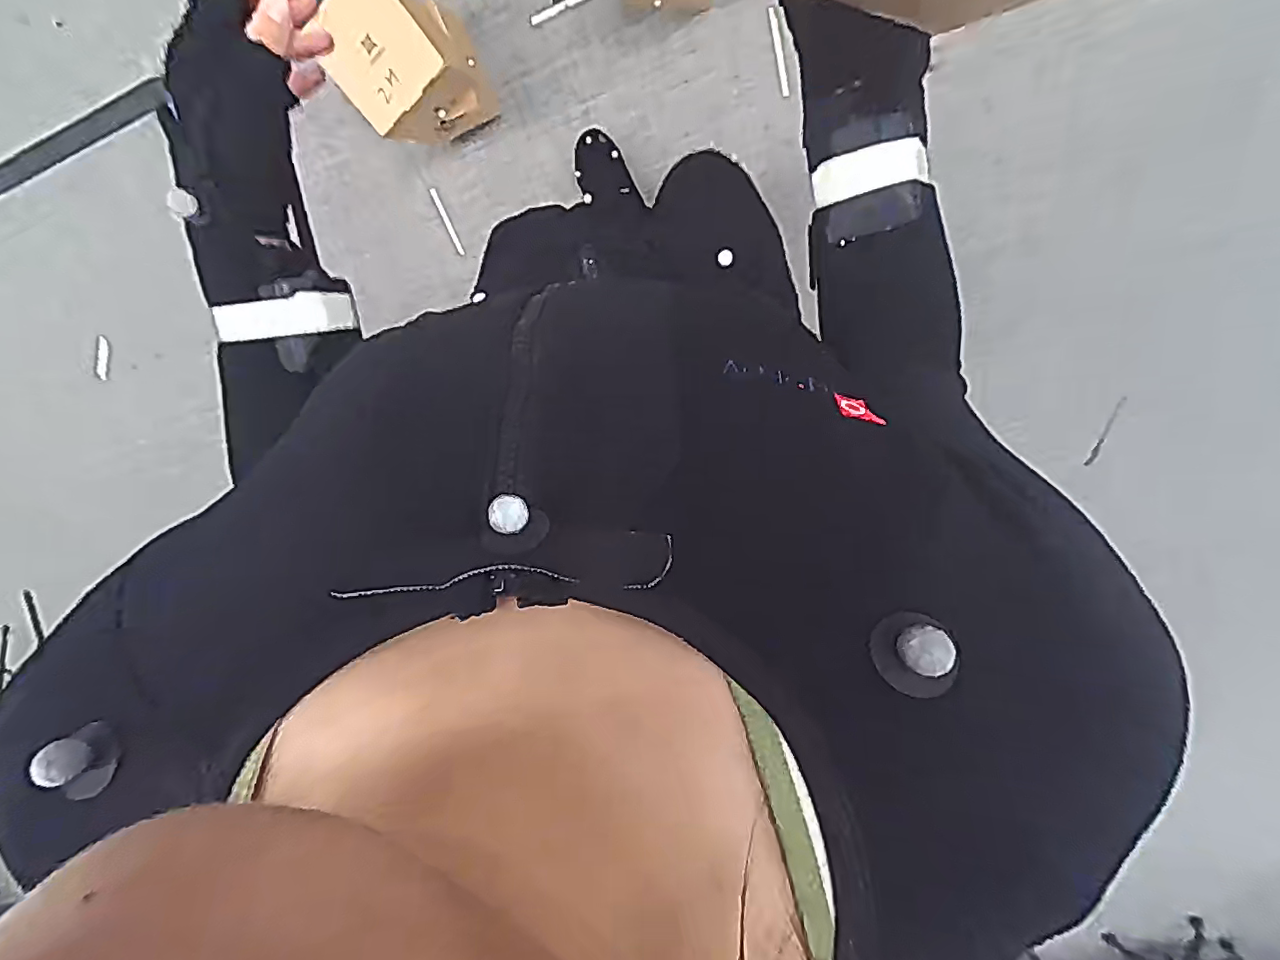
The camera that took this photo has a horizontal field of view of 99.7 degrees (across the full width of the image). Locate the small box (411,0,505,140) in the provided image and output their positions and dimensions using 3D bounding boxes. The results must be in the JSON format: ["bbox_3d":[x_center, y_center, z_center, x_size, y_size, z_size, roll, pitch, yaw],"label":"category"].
[{"bbox_3d":[-0.394,-0.805,1.075,0.168,0.176,0.179,-17,118,14],"label":"small box"}]

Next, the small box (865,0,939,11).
[{"bbox_3d":[0.090,-0.295,0.184,0.179,0.176,0.168,18,126,-3],"label":"small box"}]

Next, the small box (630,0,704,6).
[{"bbox_3d":[0.057,-0.966,0.952,0.179,0.176,0.168,-2,120,3],"label":"small box"}]

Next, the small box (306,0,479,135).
[{"bbox_3d":[-0.411,-0.728,0.930,0.168,0.176,0.179,-28,117,20],"label":"small box"}]
